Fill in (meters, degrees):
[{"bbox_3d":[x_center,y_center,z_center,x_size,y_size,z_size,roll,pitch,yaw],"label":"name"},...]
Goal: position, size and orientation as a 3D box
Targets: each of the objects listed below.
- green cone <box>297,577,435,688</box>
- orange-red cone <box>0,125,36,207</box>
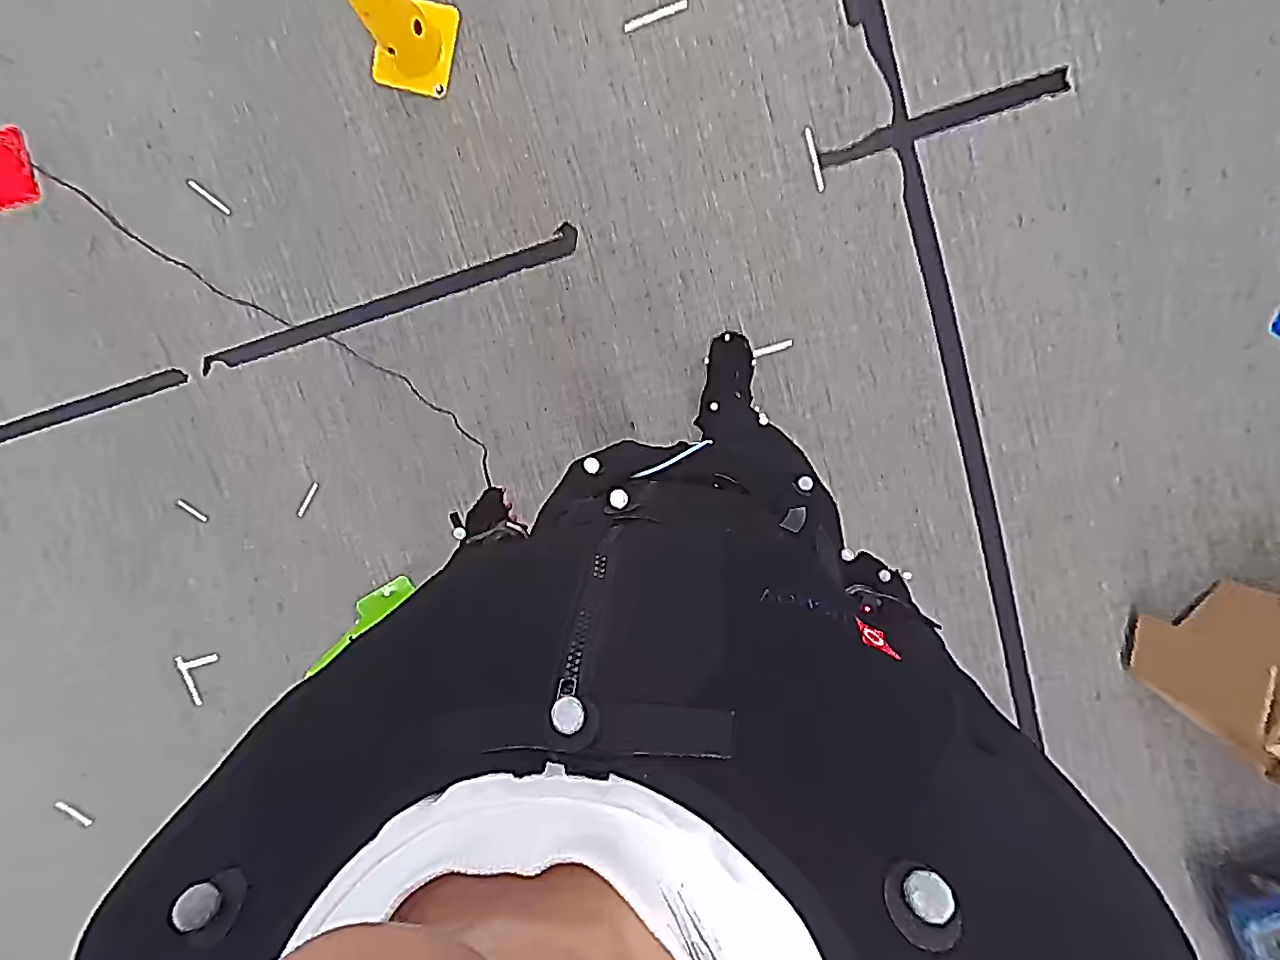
[{"bbox_3d":[-0.752,0.432,1.432,0.202,0.368,0.200,-30,94,13],"label":"green cone"},{"bbox_3d":[-1.840,-0.859,1.368,0.199,0.360,0.198,-7,99,8],"label":"orange-red cone"}]
